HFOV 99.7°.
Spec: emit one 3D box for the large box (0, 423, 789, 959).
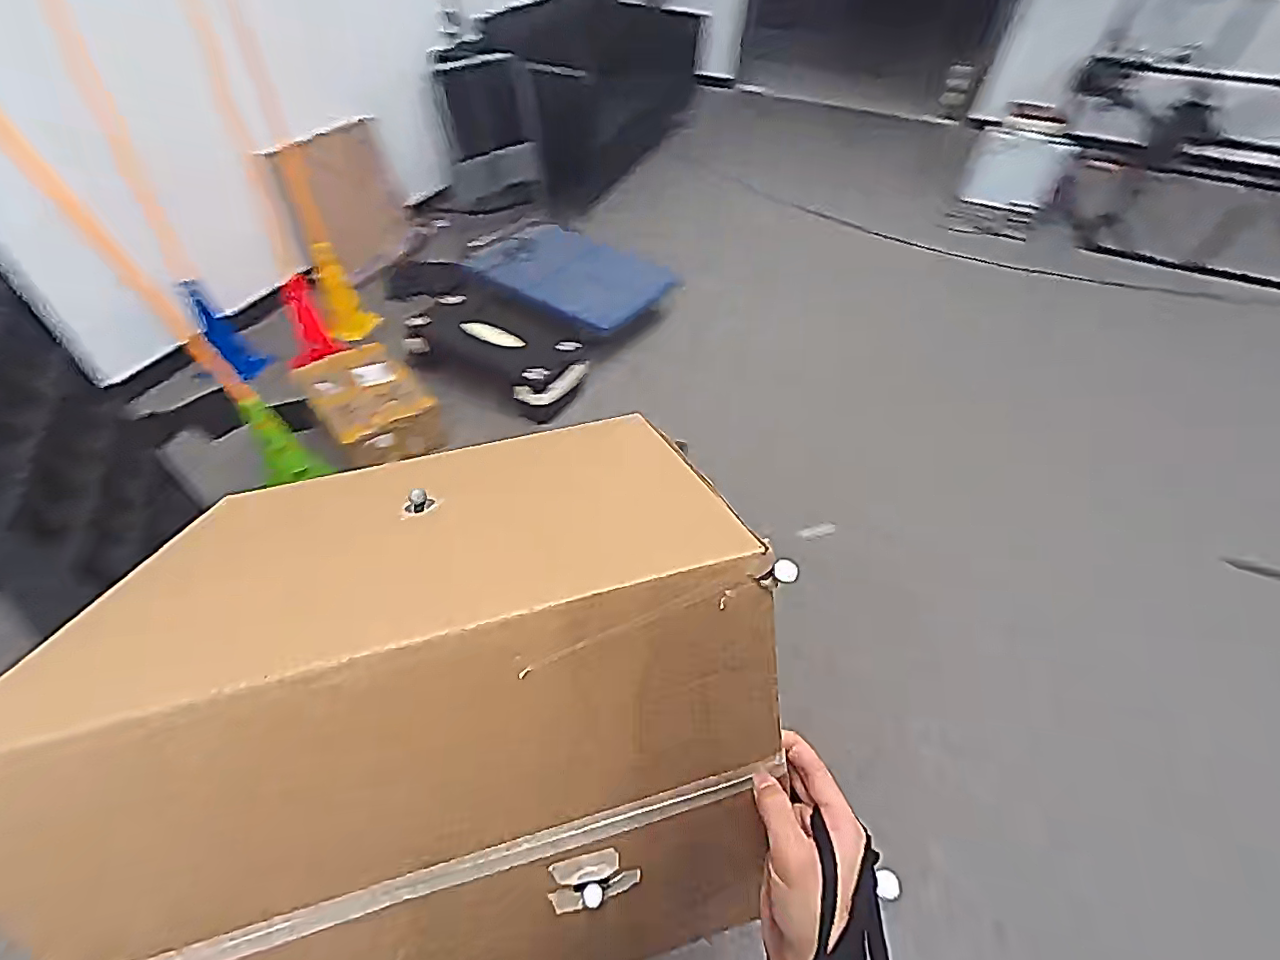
[{"bbox_3d":[-0.132,0.170,0.464,0.408,0.320,0.320,-13,24,-8],"label":"large box"}]
